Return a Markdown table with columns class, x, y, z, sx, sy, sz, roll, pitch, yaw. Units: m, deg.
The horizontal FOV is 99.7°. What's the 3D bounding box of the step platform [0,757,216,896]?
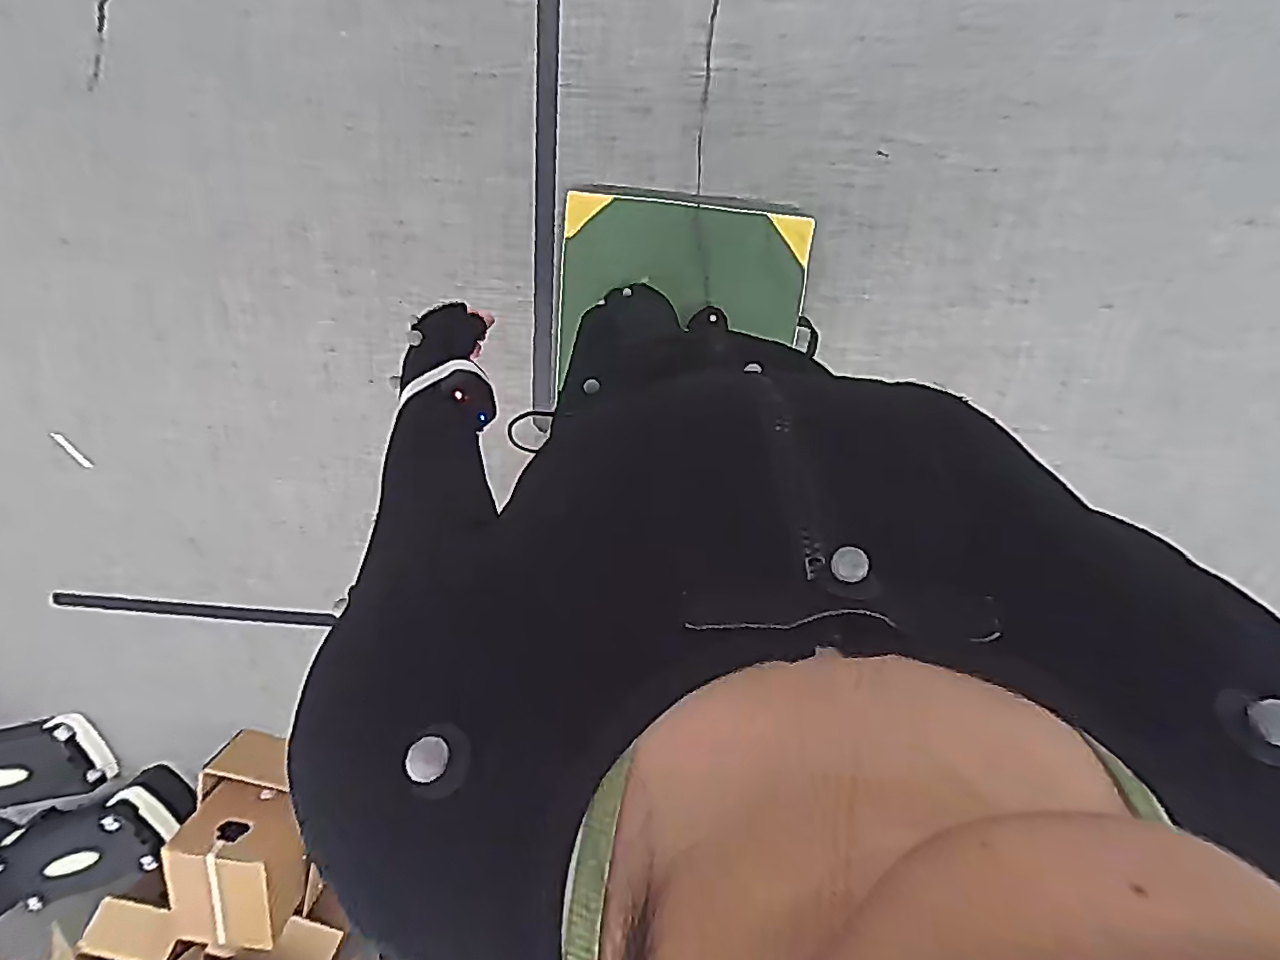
| class | x | y | z | sx | sy | sz | roll | pitch | yaw |
| --- | --- | --- | --- | --- | --- | --- | --- | --- | --- |
| step platform | -1.960 | 1.277 | 1.989 | 0.684 | 0.204 | 0.286 | -23 | 107 | 9 |
